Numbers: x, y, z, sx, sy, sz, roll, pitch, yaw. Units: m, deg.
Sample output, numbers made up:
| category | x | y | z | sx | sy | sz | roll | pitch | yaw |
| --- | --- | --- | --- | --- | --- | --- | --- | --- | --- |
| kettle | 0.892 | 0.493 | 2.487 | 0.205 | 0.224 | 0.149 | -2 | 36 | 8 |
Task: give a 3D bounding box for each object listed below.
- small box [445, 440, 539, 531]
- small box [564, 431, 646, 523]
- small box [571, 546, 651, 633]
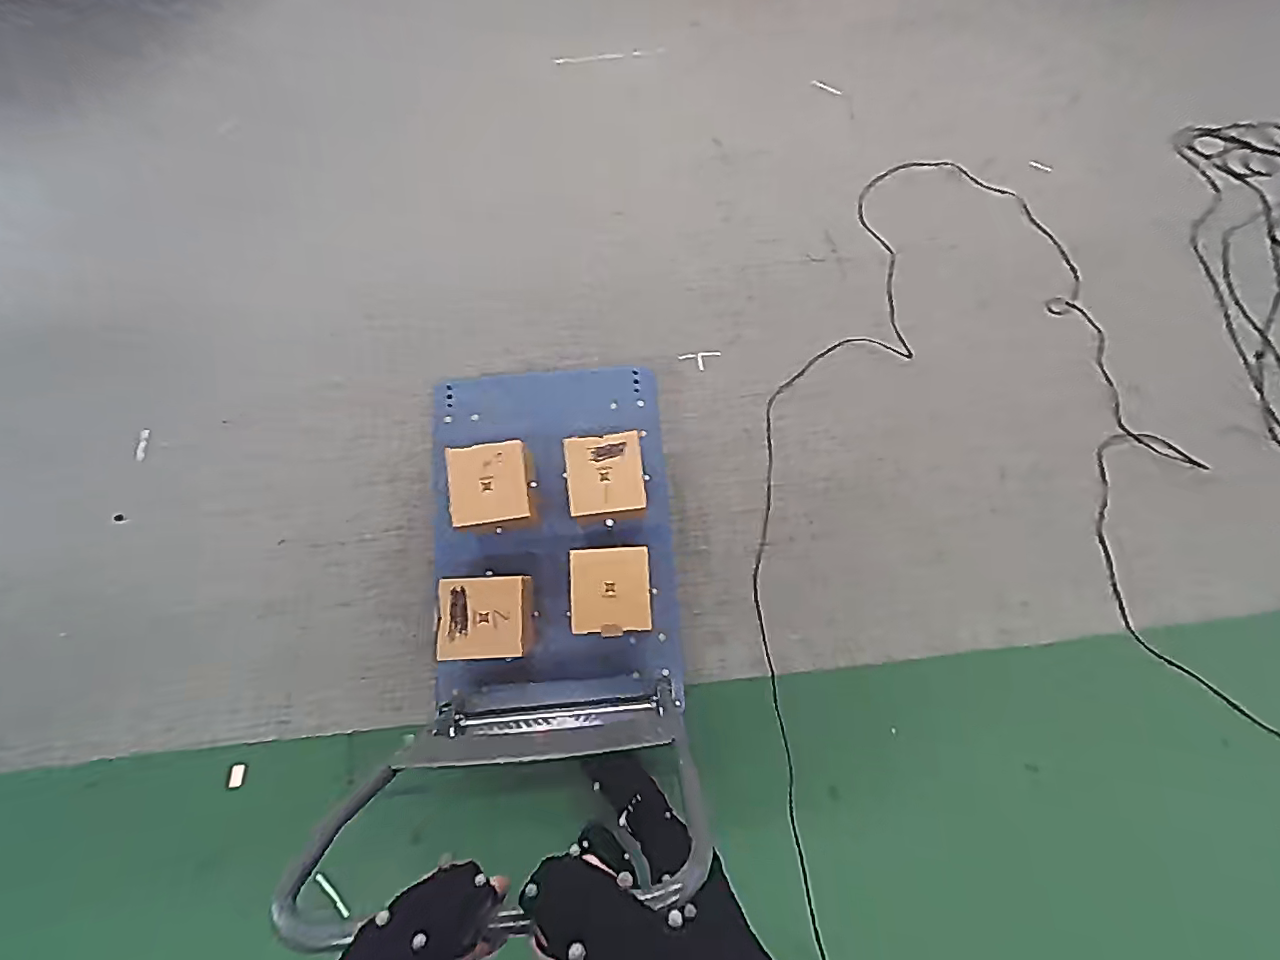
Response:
| category | x | y | z | sx | sy | sz | roll | pitch | yaw |
| --- | --- | --- | --- | --- | --- | --- | --- | --- | --- |
| small box | -0.333 | 0.021 | 1.242 | 0.168 | 0.176 | 0.179 | -8 | 80 | -3 |
| small box | -0.079 | -0.002 | 1.248 | 0.168 | 0.176 | 0.179 | -7 | 80 | -1 |
| small box | -0.065 | 0.243 | 1.204 | 0.168 | 0.176 | 0.179 | -3 | 80 | -1 |
